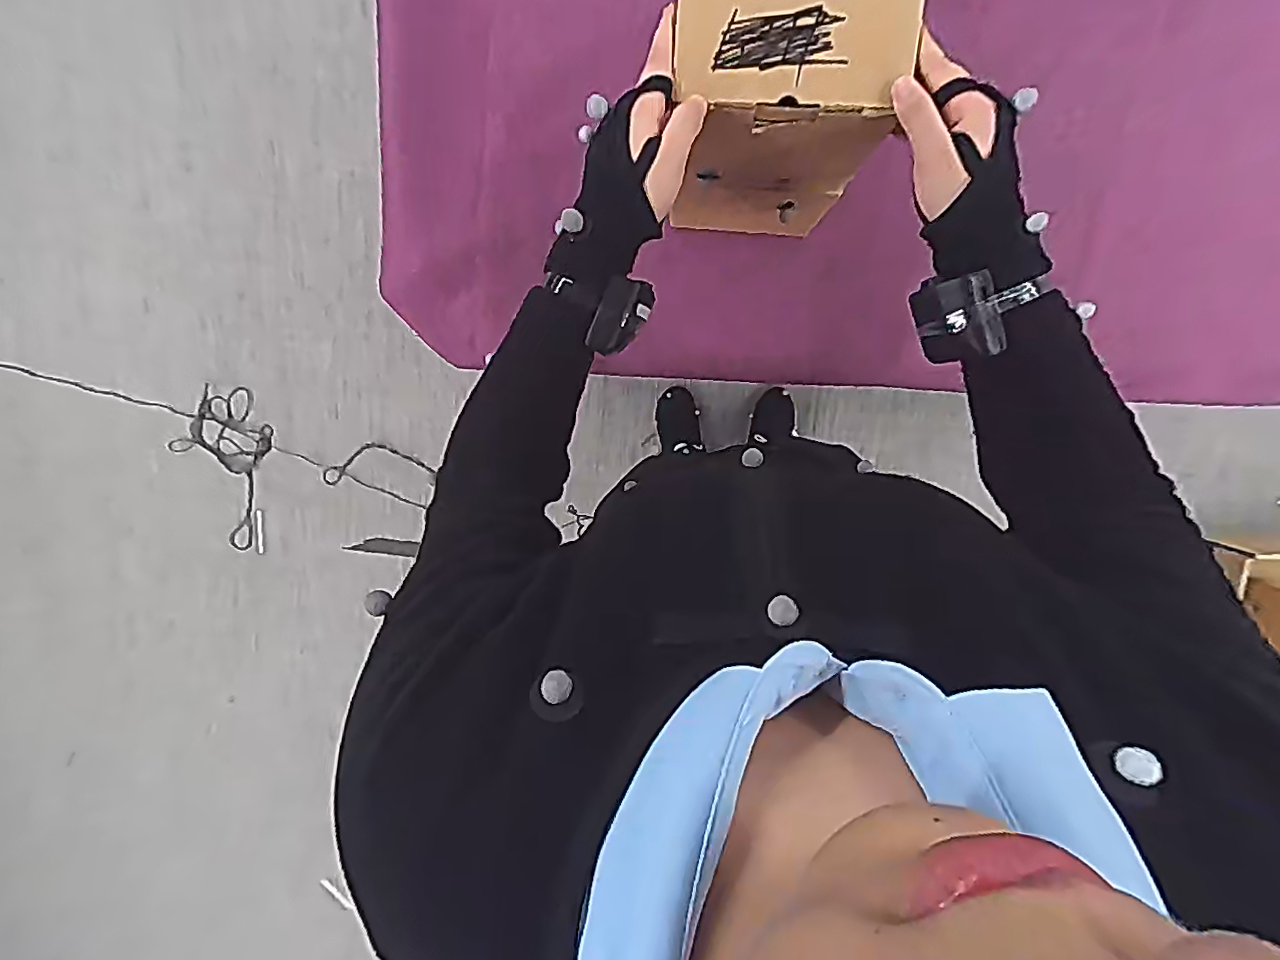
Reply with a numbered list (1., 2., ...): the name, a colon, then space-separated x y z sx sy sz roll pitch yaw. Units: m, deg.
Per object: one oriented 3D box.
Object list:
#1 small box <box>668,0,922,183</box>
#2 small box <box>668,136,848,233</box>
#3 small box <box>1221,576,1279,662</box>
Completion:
1. small box: 0.114 -0.357 0.433 0.168 0.176 0.179 4 101 4
2. small box: 0.127 -0.382 0.595 0.179 0.176 0.168 6 101 4
3. small box: 1.594 0.348 1.301 0.179 0.176 0.168 11 103 3
